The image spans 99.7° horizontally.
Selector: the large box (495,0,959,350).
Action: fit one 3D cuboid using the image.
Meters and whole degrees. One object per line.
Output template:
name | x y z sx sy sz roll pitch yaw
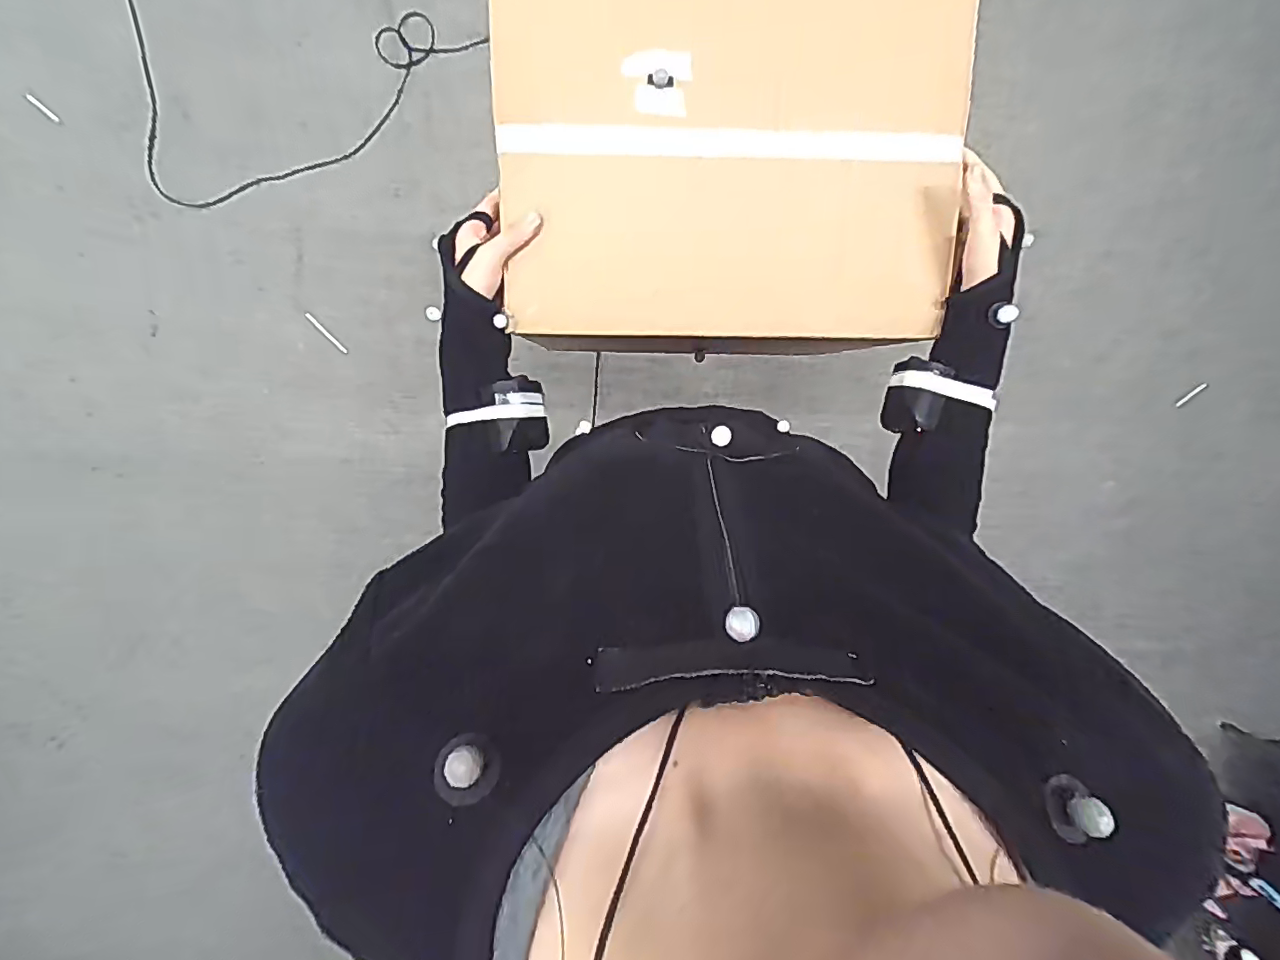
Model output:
large box | 0.073 -0.315 0.628 0.408 0.320 0.320 0 100 -2
